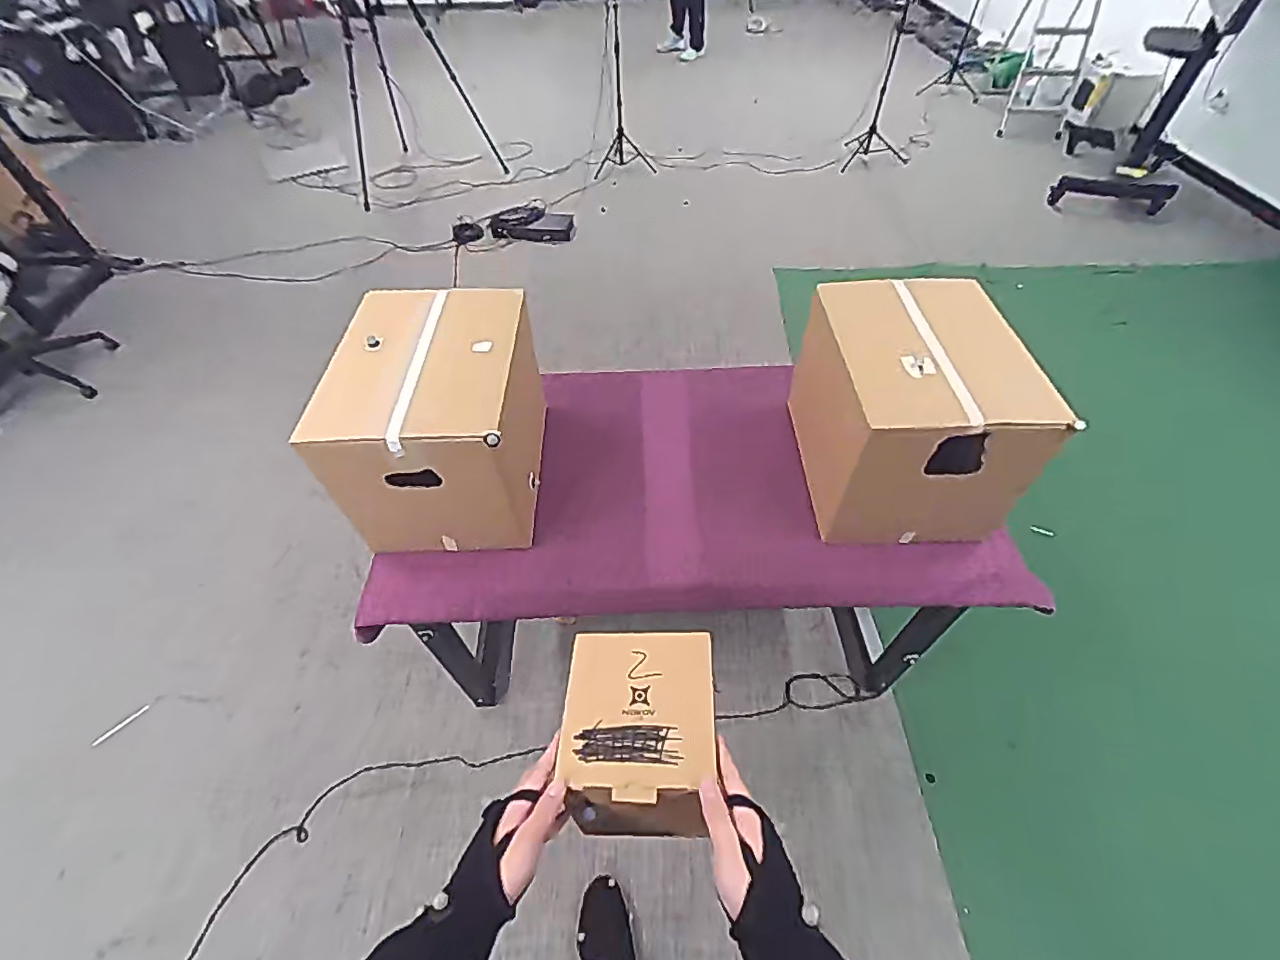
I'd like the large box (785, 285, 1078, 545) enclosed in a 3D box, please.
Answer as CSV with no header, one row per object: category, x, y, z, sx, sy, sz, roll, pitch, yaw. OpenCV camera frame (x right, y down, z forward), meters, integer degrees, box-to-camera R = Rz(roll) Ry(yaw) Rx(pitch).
large box,0.495,-0.126,1.038,0.320,0.320,0.408,-2,51,1
